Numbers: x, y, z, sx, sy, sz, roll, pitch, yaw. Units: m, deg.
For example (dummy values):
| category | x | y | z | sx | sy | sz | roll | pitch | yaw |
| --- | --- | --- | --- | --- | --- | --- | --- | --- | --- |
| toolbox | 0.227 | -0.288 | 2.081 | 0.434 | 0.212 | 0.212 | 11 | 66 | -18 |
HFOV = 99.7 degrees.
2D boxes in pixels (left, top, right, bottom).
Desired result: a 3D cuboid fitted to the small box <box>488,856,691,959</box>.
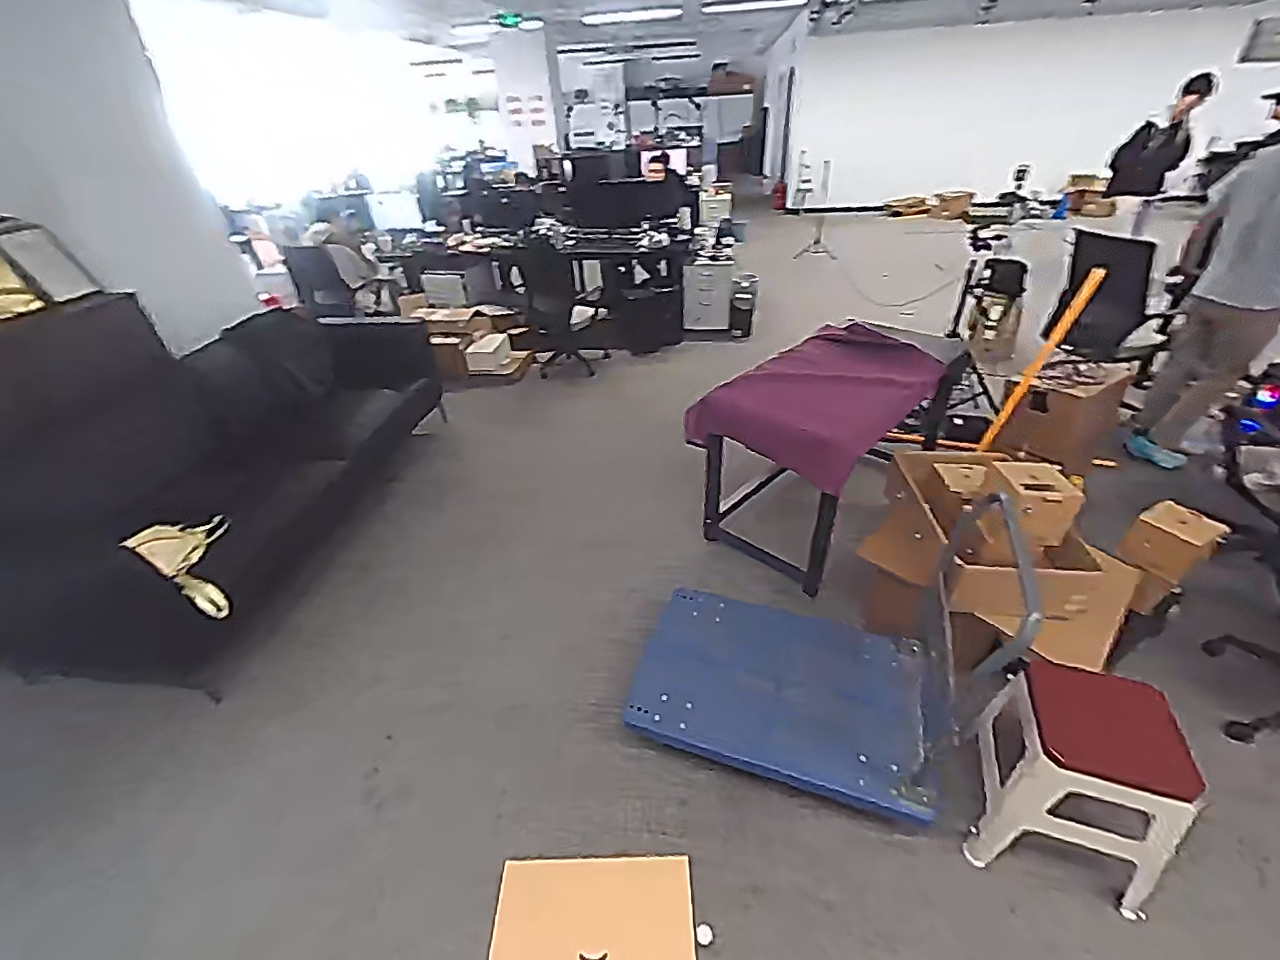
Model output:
| category | x | y | z | sx | sy | sz | roll | pitch | yaw |
| --- | --- | --- | --- | --- | --- | --- | --- | --- | --- |
| small box | -0.040 | 0.459 | 0.467 | 0.168 | 0.176 | 0.179 | -1 | 35 | 1 |
